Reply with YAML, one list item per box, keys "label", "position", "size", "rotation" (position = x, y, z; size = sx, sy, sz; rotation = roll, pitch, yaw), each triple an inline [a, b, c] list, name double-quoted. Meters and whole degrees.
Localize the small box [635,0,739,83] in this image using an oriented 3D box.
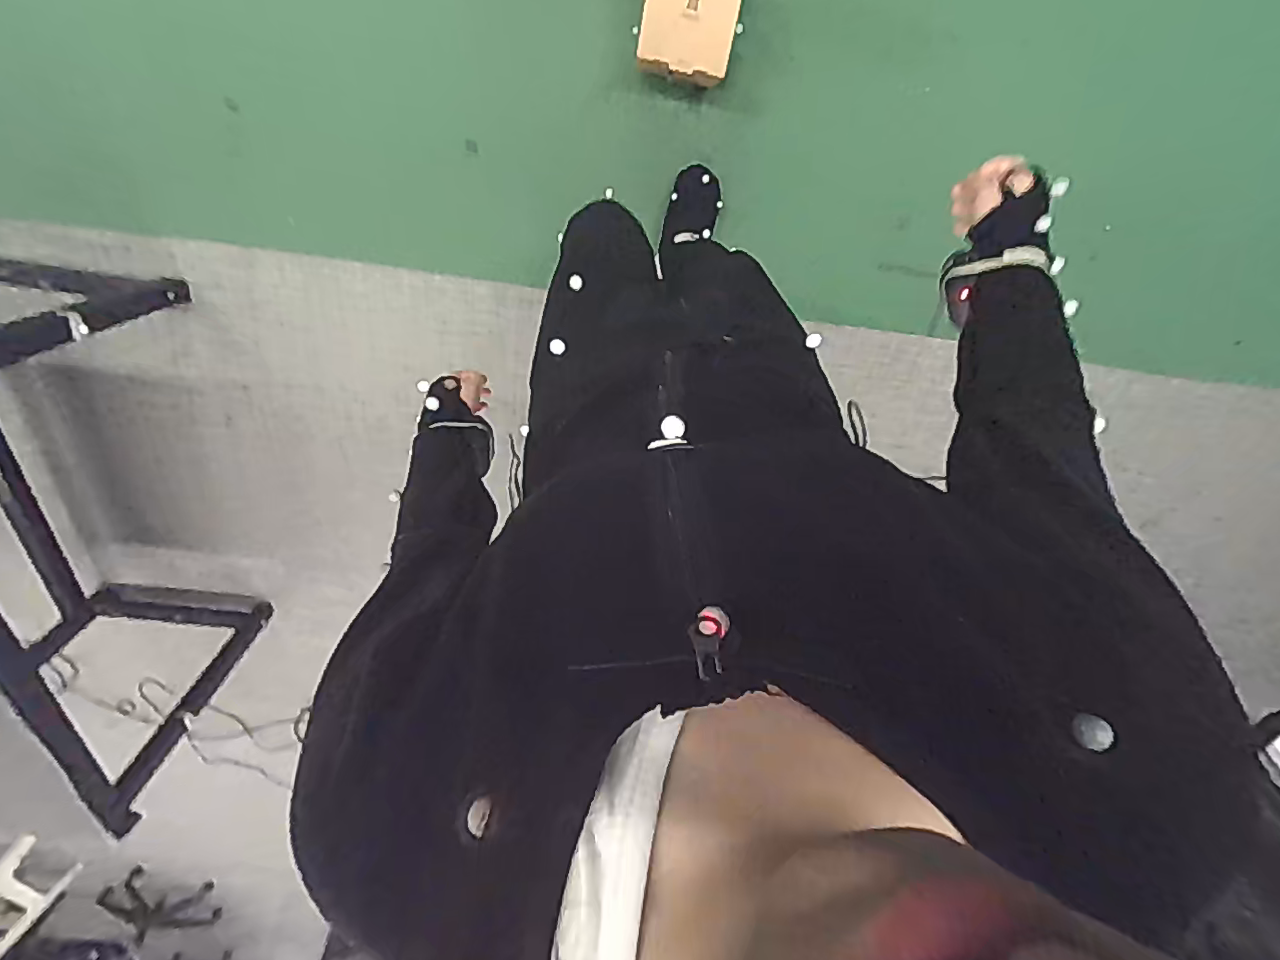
- label: "small box"
  position: [0.085, -0.867, 1.004]
  size: [0.168, 0.176, 0.179]
  rotation: [9, 122, -6]
